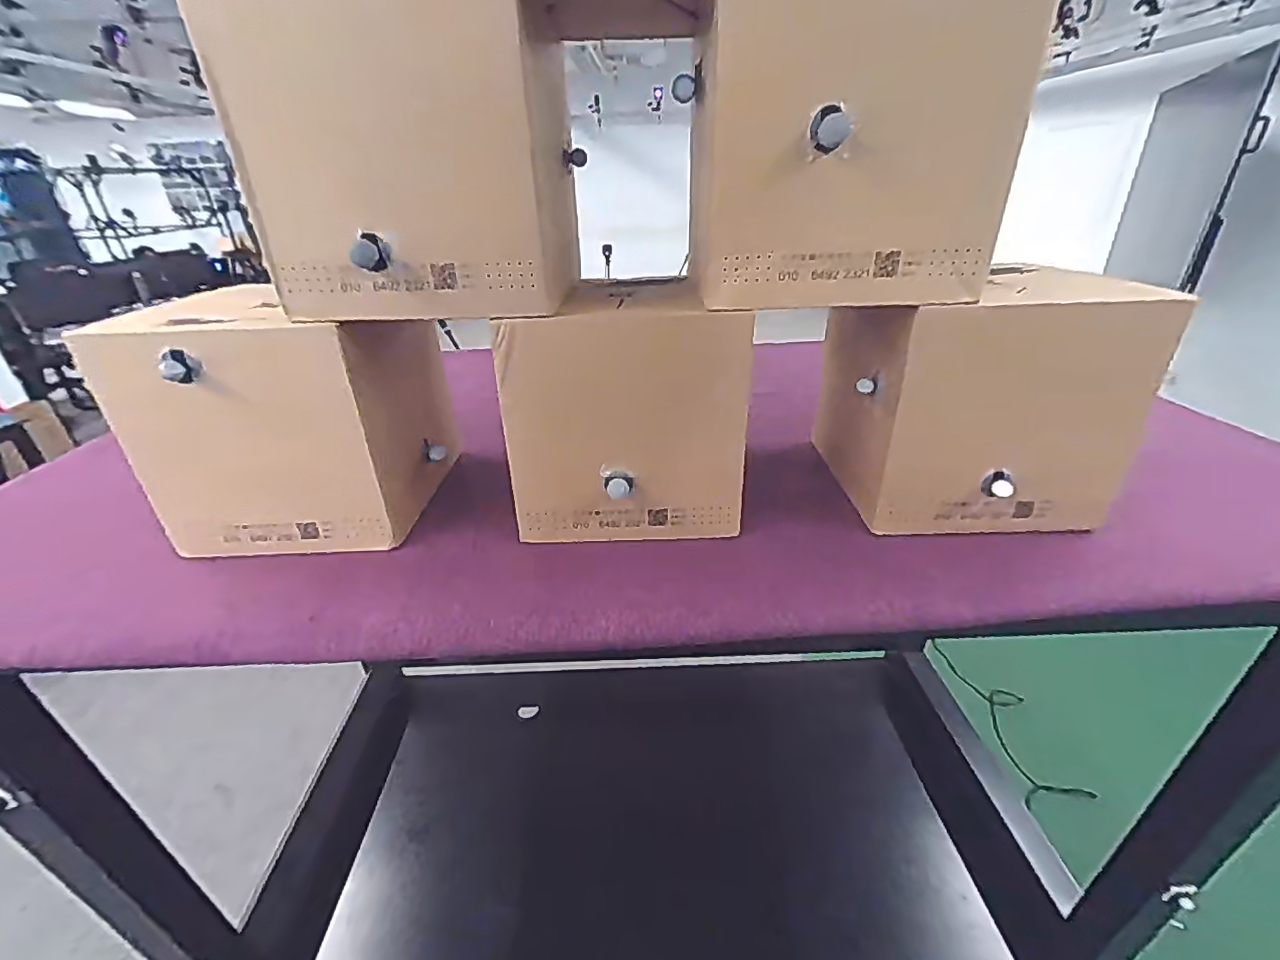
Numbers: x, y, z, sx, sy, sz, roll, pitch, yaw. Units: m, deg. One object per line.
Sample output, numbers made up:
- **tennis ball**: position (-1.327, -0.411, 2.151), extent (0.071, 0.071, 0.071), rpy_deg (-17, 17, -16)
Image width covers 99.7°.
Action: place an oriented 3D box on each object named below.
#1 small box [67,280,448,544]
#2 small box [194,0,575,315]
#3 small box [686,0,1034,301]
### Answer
- **small box**: position (-0.266, -0.064, 0.436), extent (0.168, 0.176, 0.179), rpy_deg (-2, 27, -1)
- **small box**: position (-0.138, -0.214, 0.365), extent (0.168, 0.176, 0.179), rpy_deg (-1, 28, 2)
- **small box**: position (0.119, -0.217, 0.361), extent (0.168, 0.176, 0.179), rpy_deg (-1, 28, 1)
